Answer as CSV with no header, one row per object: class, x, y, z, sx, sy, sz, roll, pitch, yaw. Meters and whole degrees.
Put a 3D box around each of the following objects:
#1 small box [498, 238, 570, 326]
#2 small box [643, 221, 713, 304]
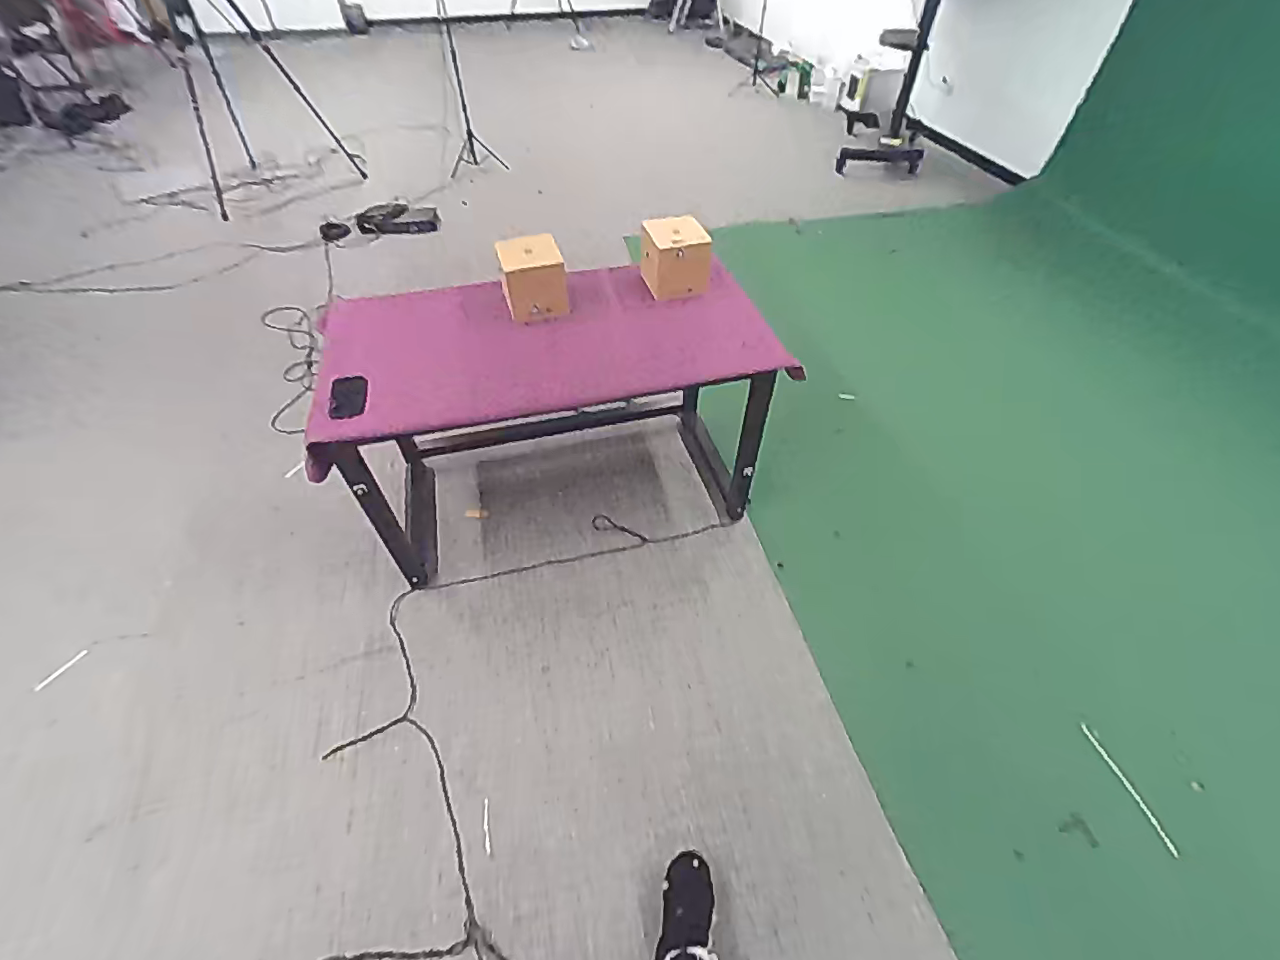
small box,-0.304,-0.570,1.556,0.168,0.176,0.179,-14,51,-11
small box,0.108,-0.658,1.637,0.168,0.176,0.179,-13,50,-11
